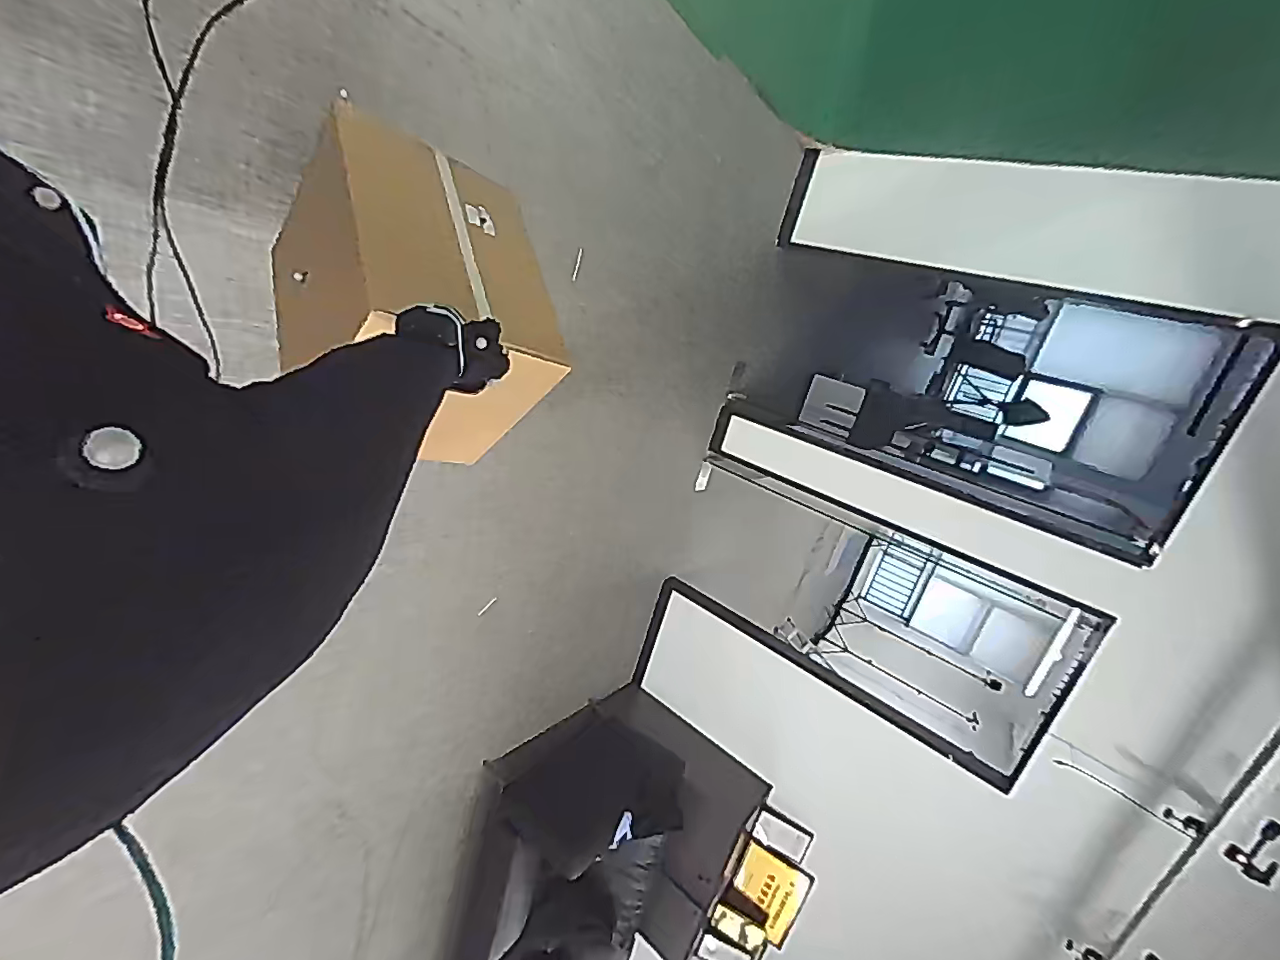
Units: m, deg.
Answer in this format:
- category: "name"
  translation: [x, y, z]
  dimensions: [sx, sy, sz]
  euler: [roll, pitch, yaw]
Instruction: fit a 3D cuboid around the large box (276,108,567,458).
- category: "large box"
  translation: [-0.381, -0.288, 0.909]
  dimensions: [0.320, 0.408, 0.320]
  euler: [-36, 153, 33]
